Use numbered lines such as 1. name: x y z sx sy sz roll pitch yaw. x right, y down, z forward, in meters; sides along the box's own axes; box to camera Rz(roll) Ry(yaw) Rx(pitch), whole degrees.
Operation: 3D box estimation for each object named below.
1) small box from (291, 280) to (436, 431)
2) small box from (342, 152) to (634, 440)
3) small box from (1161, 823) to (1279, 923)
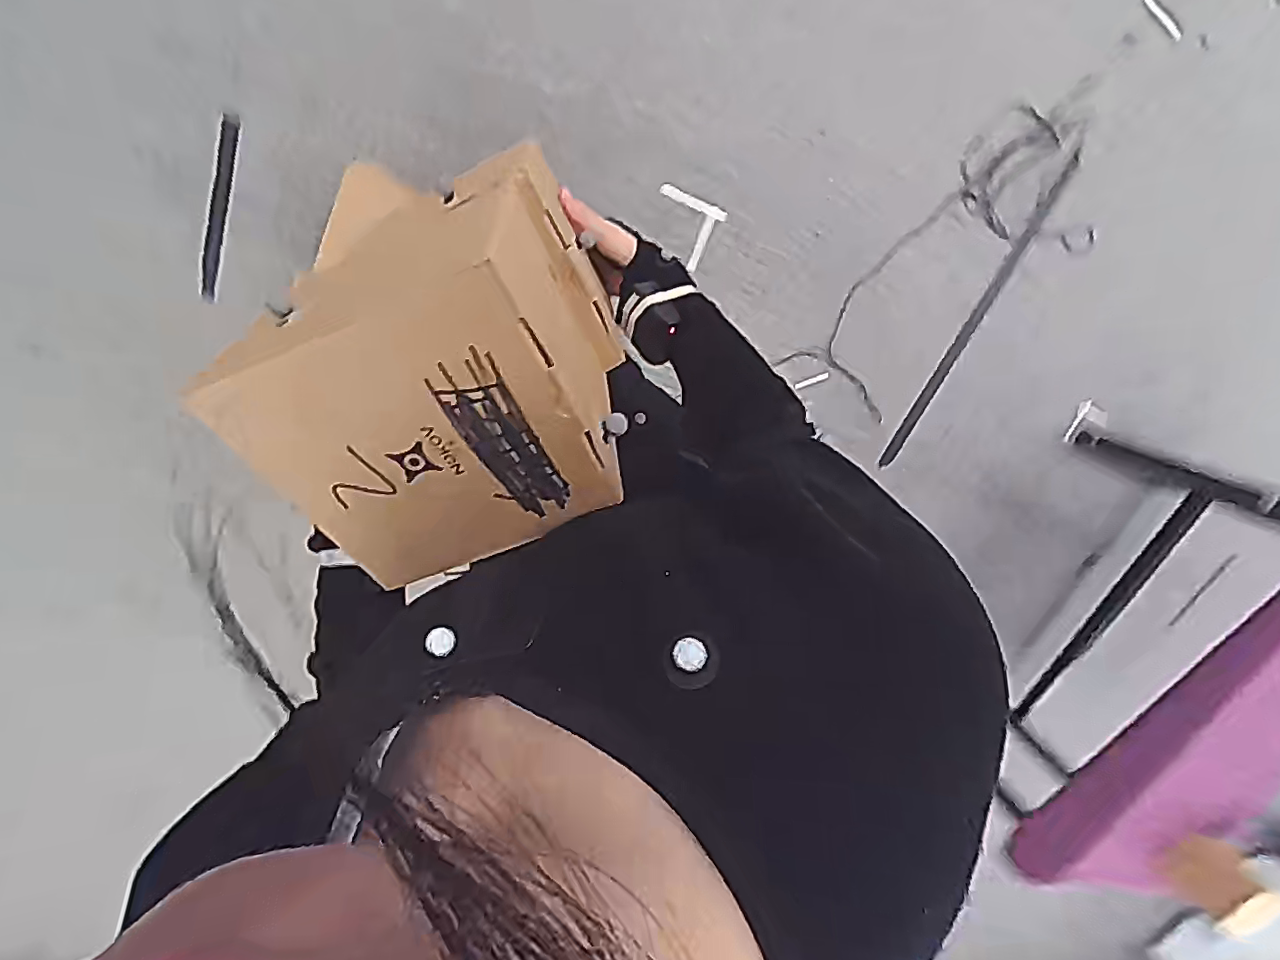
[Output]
1. small box: -0.375 -0.187 0.784 0.179 0.176 0.168 10 109 -17
2. small box: -0.124 -0.172 0.493 0.179 0.176 0.168 -22 127 7
3. small box: 1.696 1.134 1.567 0.179 0.176 0.168 24 106 -17
